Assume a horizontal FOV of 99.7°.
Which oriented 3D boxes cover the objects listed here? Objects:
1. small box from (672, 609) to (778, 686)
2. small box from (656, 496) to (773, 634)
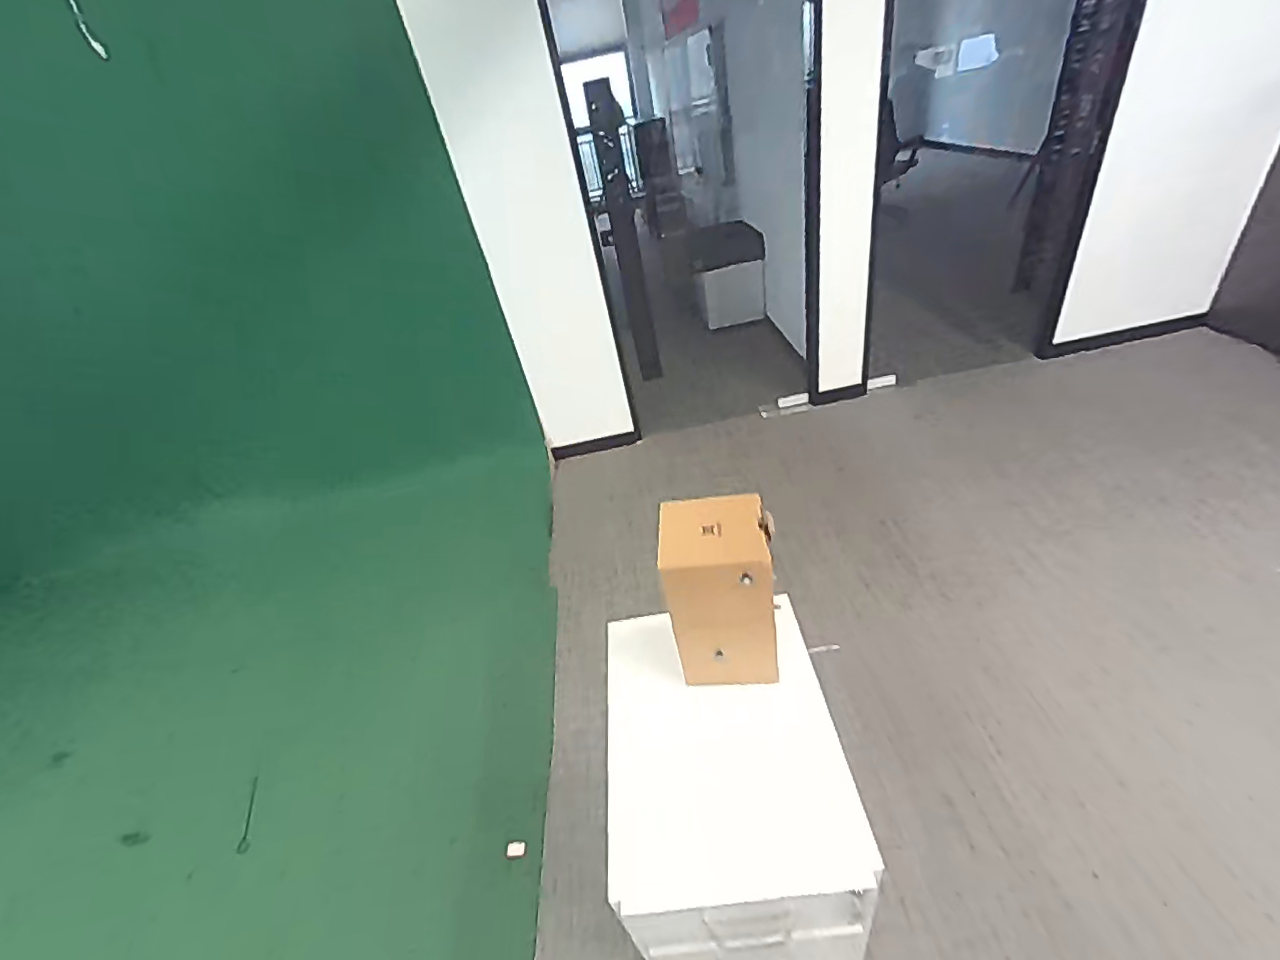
[{"bbox_3d":[0.163,0.275,1.030,0.179,0.176,0.168,-6,37,10],"label":"small box"},{"bbox_3d":[0.129,0.149,0.933,0.179,0.176,0.168,-5,36,9],"label":"small box"}]
